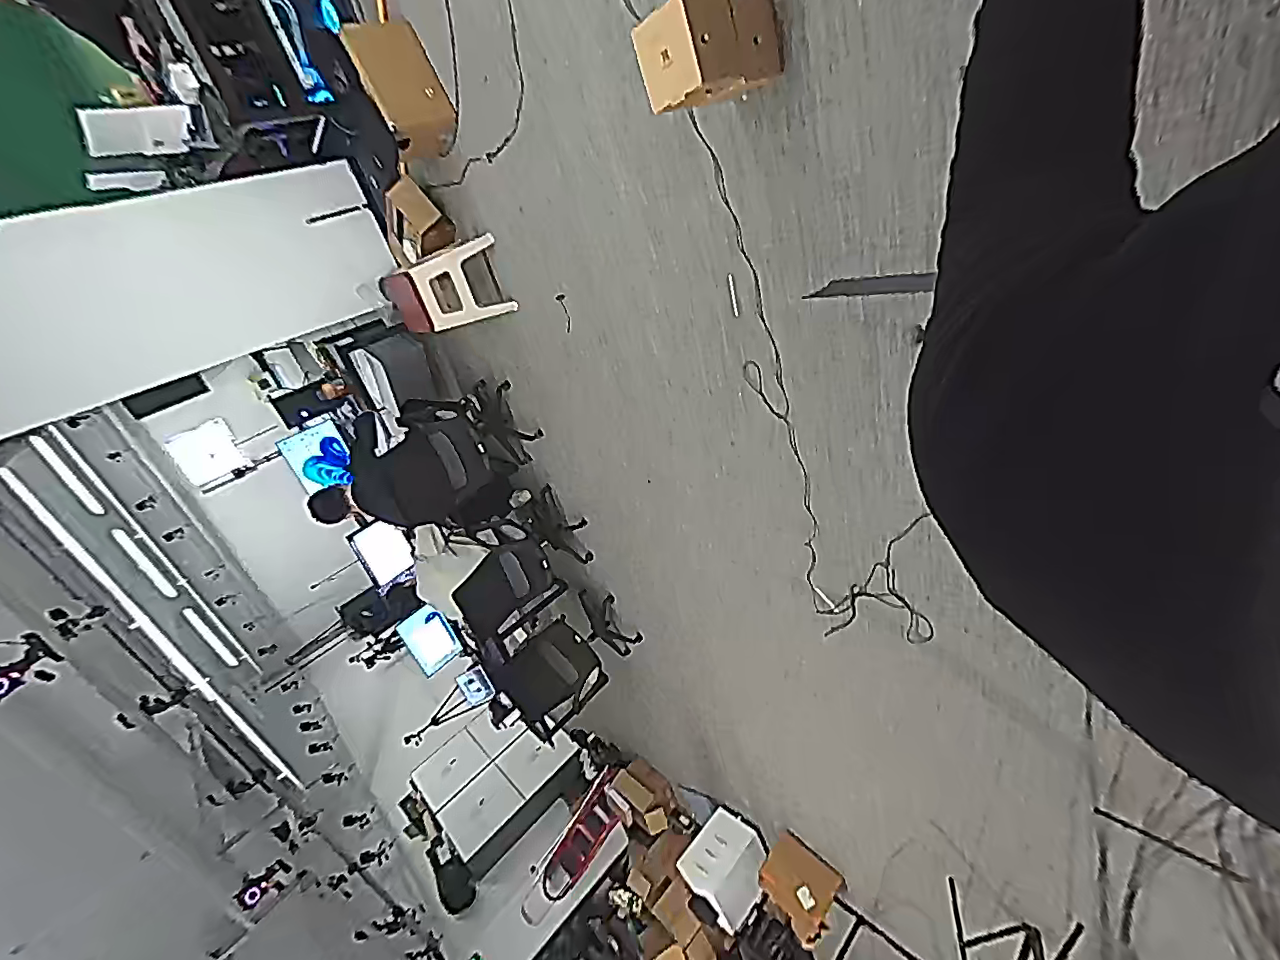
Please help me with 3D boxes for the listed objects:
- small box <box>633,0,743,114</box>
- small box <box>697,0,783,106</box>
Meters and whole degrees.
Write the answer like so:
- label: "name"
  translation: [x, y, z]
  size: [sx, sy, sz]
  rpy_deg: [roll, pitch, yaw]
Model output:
- label: "small box"
  translation: [0.119, -1.001, 1.270]
  size: [0.168, 0.176, 0.179]
  rpy_deg: [7, 125, 49]
- label: "small box"
  translation: [0.235, -1.076, 1.357]
  size: [0.168, 0.176, 0.179]
  rpy_deg: [12, 129, 48]
